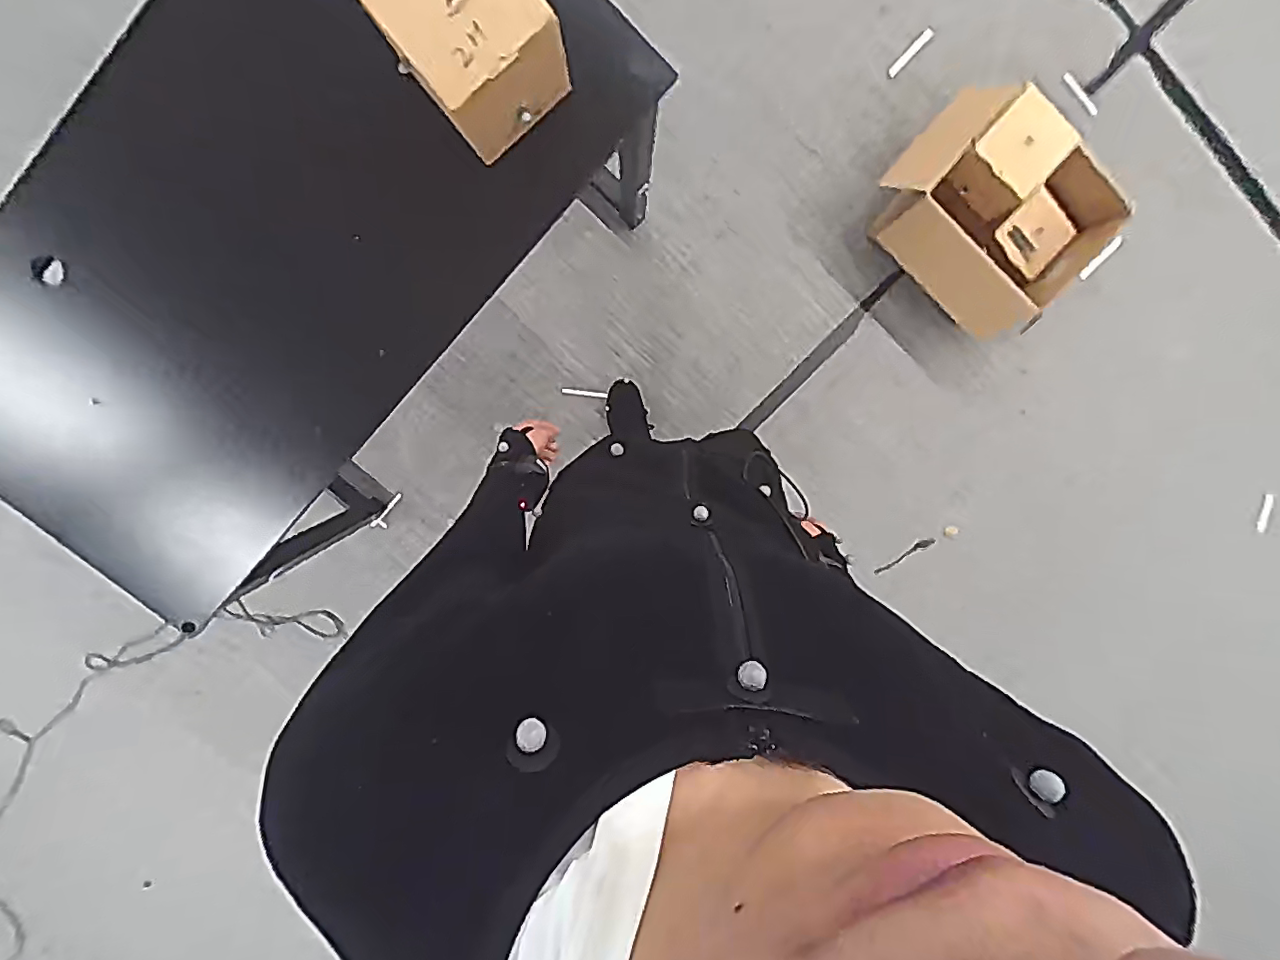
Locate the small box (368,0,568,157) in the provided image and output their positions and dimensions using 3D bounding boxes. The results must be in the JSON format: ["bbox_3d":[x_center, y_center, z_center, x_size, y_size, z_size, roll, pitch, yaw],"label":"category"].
[{"bbox_3d":[-0.214,-0.567,0.697,0.168,0.176,0.179,-39,99,6],"label":"small box"}]
